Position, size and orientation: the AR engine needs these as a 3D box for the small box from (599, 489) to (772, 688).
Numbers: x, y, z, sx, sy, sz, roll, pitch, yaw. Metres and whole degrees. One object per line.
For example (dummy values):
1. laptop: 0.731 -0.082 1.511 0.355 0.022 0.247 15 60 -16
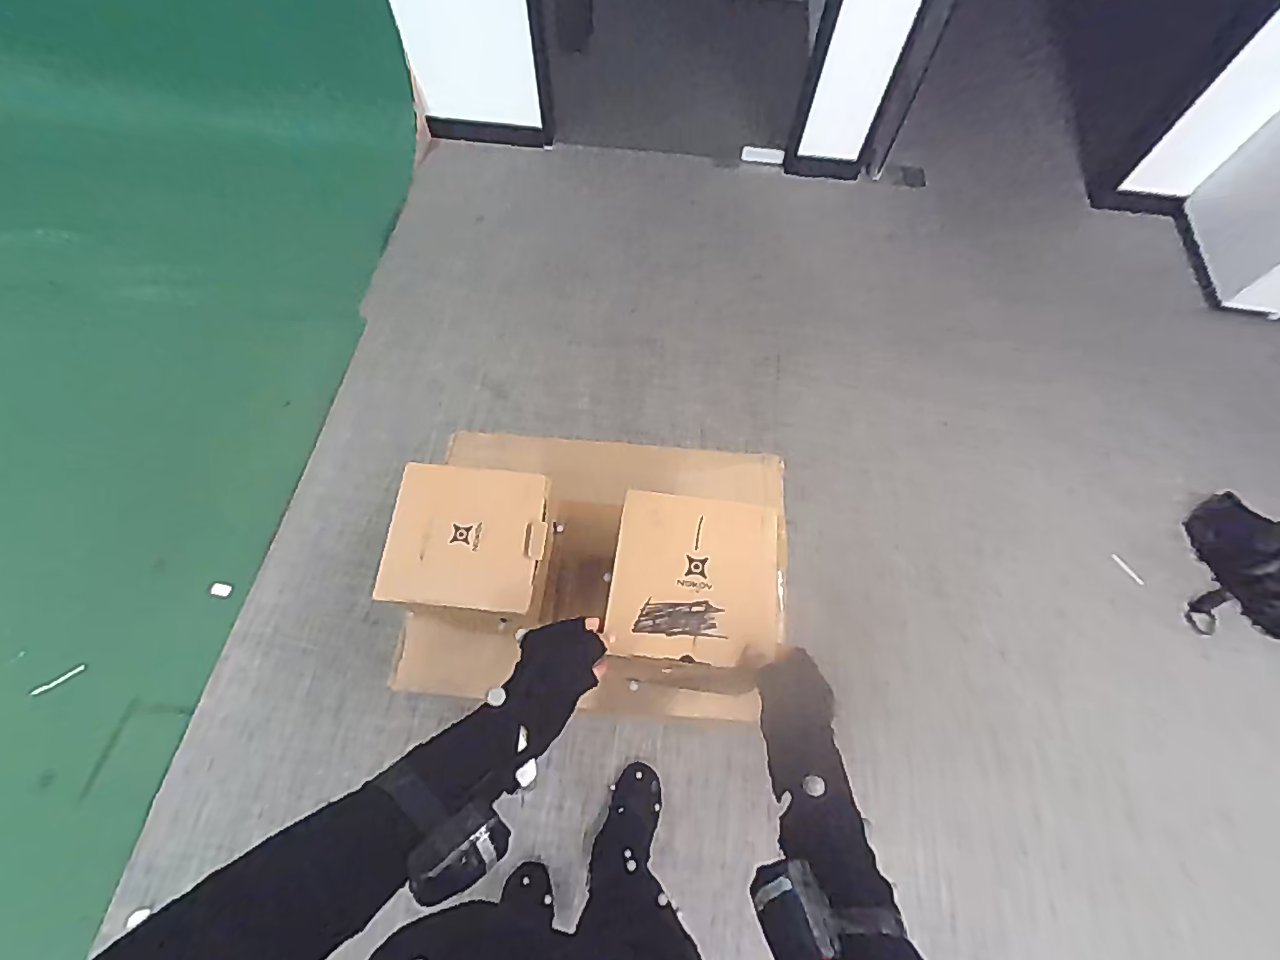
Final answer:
1. small box: 0.052 0.132 0.621 0.168 0.176 0.179 6 61 3

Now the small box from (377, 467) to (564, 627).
1. small box: -0.200 0.095 0.700 0.179 0.176 0.168 4 68 2
